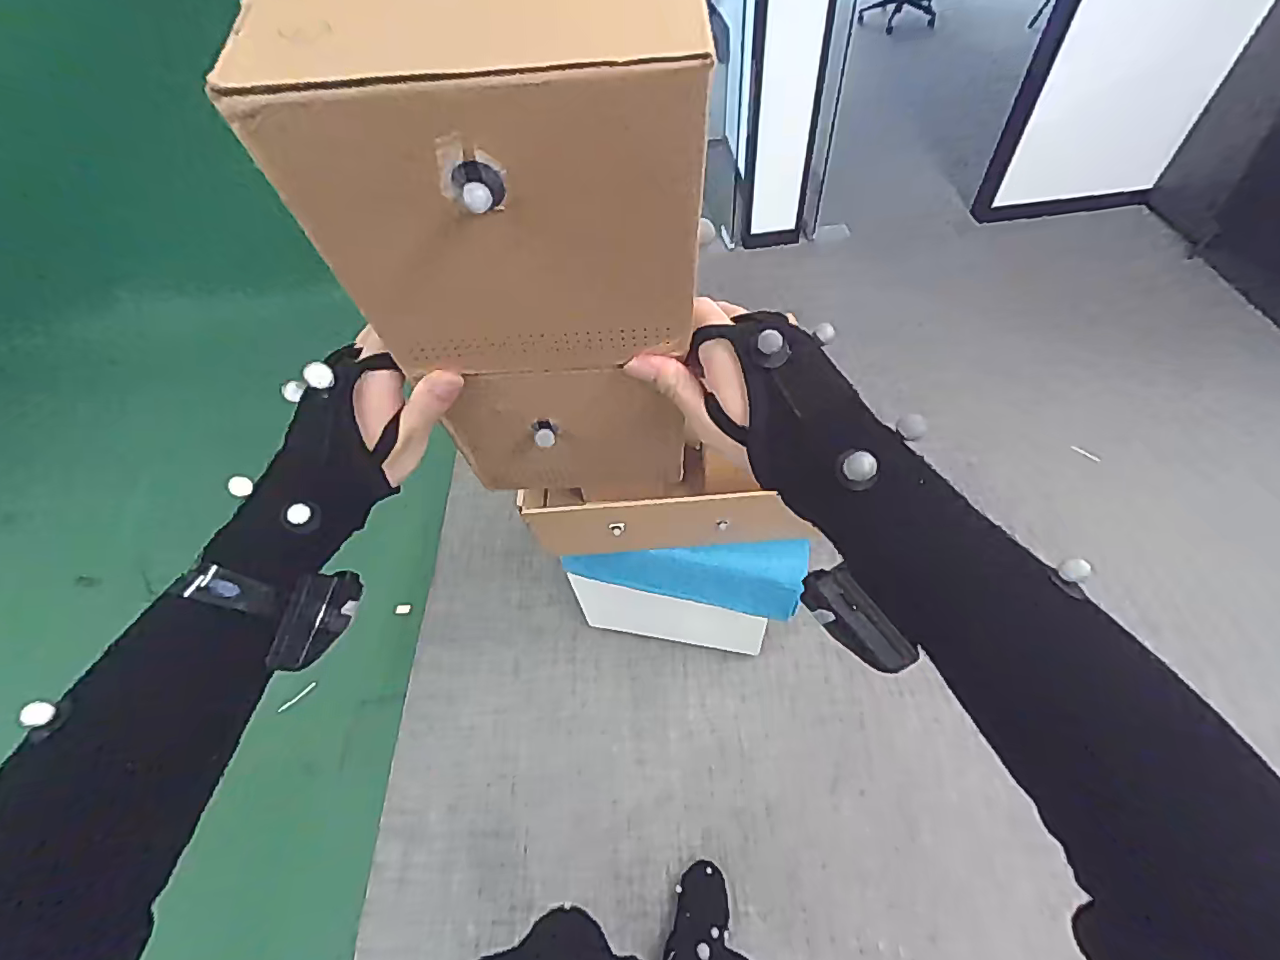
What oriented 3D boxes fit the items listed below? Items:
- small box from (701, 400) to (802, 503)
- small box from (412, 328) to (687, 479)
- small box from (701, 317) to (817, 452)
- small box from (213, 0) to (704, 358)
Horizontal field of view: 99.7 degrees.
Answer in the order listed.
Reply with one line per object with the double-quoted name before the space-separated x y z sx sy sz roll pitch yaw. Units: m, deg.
"small box" 0.222 -0.065 1.107 0.179 0.176 0.168 -4 51 5
"small box" -0.053 -0.109 0.439 0.179 0.176 0.168 -3 63 2
"small box" 0.205 -0.168 0.980 0.179 0.176 0.168 -6 51 4
"small box" -0.061 -0.181 0.291 0.179 0.176 0.168 -2 64 1
